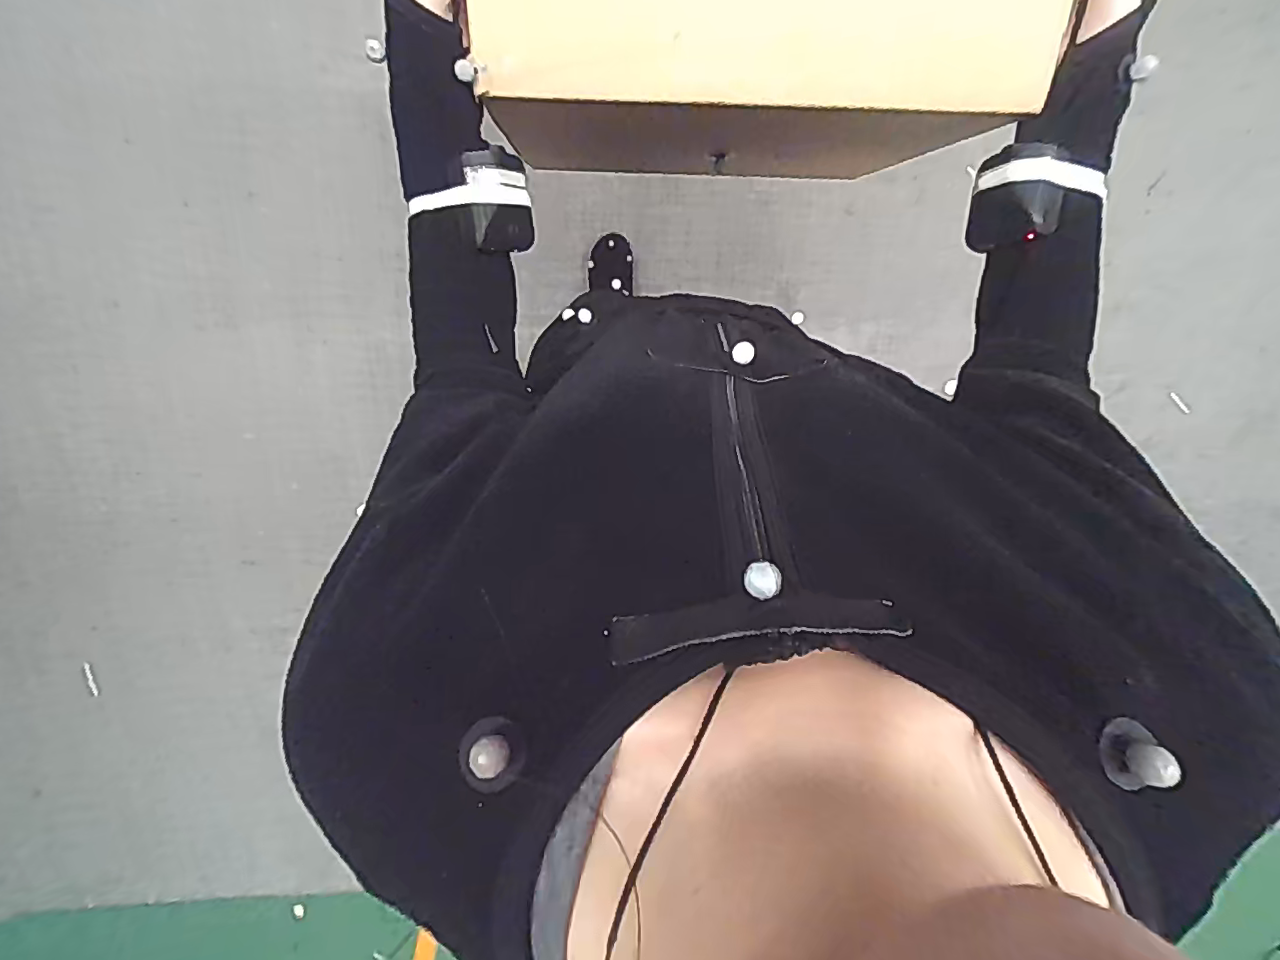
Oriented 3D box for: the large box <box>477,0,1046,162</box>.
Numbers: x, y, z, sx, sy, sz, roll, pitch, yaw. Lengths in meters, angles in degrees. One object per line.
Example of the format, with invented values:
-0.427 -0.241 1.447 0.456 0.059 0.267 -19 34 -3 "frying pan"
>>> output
0.082 -0.475 0.473 0.408 0.320 0.320 -1 111 -3 "large box"
